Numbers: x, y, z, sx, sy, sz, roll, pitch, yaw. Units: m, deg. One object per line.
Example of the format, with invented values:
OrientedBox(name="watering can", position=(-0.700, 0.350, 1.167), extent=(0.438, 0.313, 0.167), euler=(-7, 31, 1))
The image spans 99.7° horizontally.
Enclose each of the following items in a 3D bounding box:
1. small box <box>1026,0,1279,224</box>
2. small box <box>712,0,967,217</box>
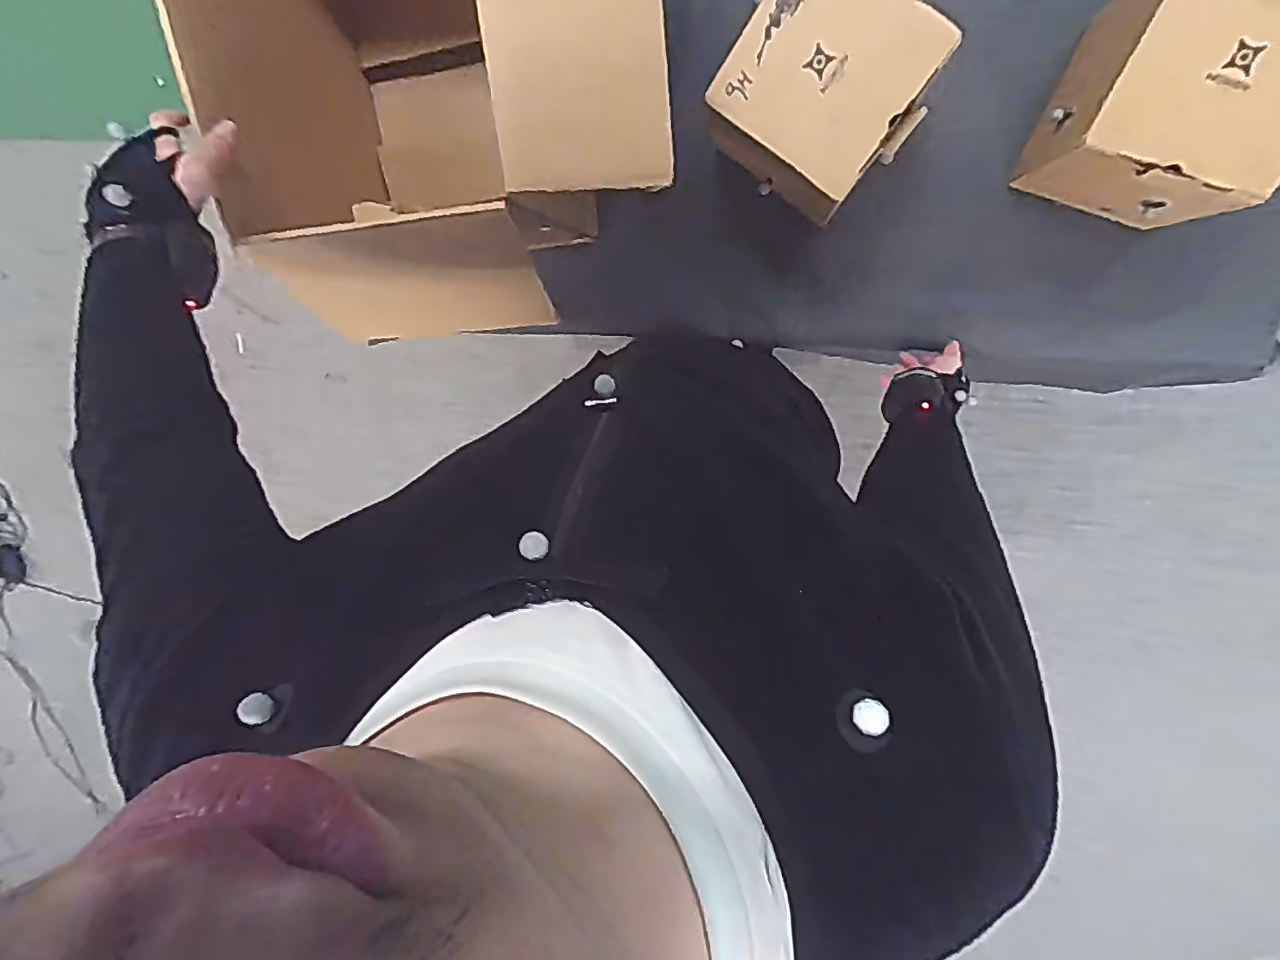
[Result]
OrientedBox(name="small box", position=(0.526, -0.372, 0.529), extent=(0.168, 0.176, 0.179), euler=(22, 110, 5))
OrientedBox(name="small box", position=(0.203, -0.416, 0.594), extent=(0.179, 0.176, 0.168), euler=(38, 111, -1))
